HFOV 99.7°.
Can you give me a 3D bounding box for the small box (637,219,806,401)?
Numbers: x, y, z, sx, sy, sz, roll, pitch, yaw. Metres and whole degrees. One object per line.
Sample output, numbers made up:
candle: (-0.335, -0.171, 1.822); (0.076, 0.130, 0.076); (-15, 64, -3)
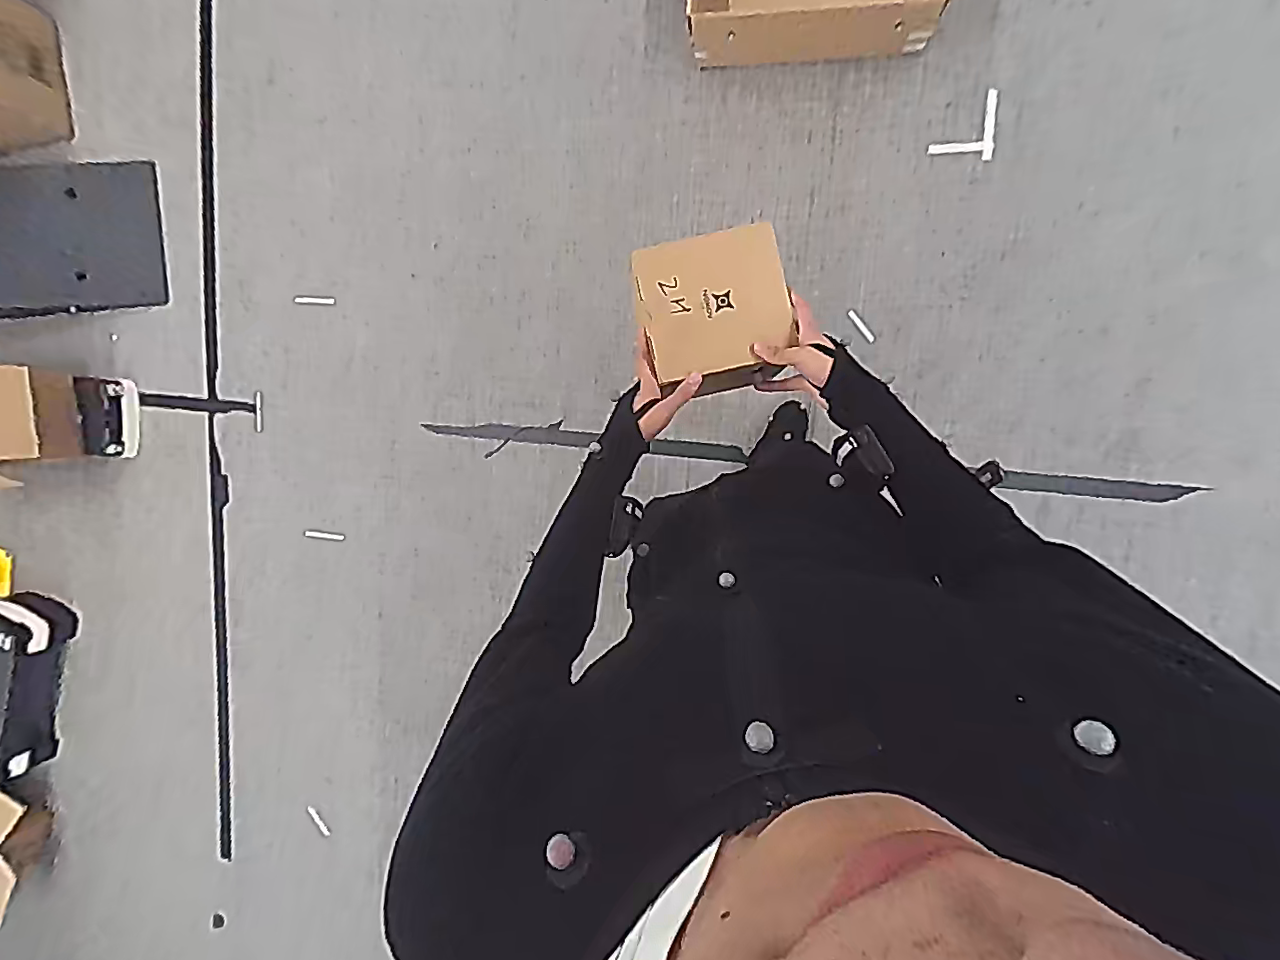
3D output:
small box: (0.095, -0.210, 0.713); (0.179, 0.176, 0.168); (-12, 89, 1)
